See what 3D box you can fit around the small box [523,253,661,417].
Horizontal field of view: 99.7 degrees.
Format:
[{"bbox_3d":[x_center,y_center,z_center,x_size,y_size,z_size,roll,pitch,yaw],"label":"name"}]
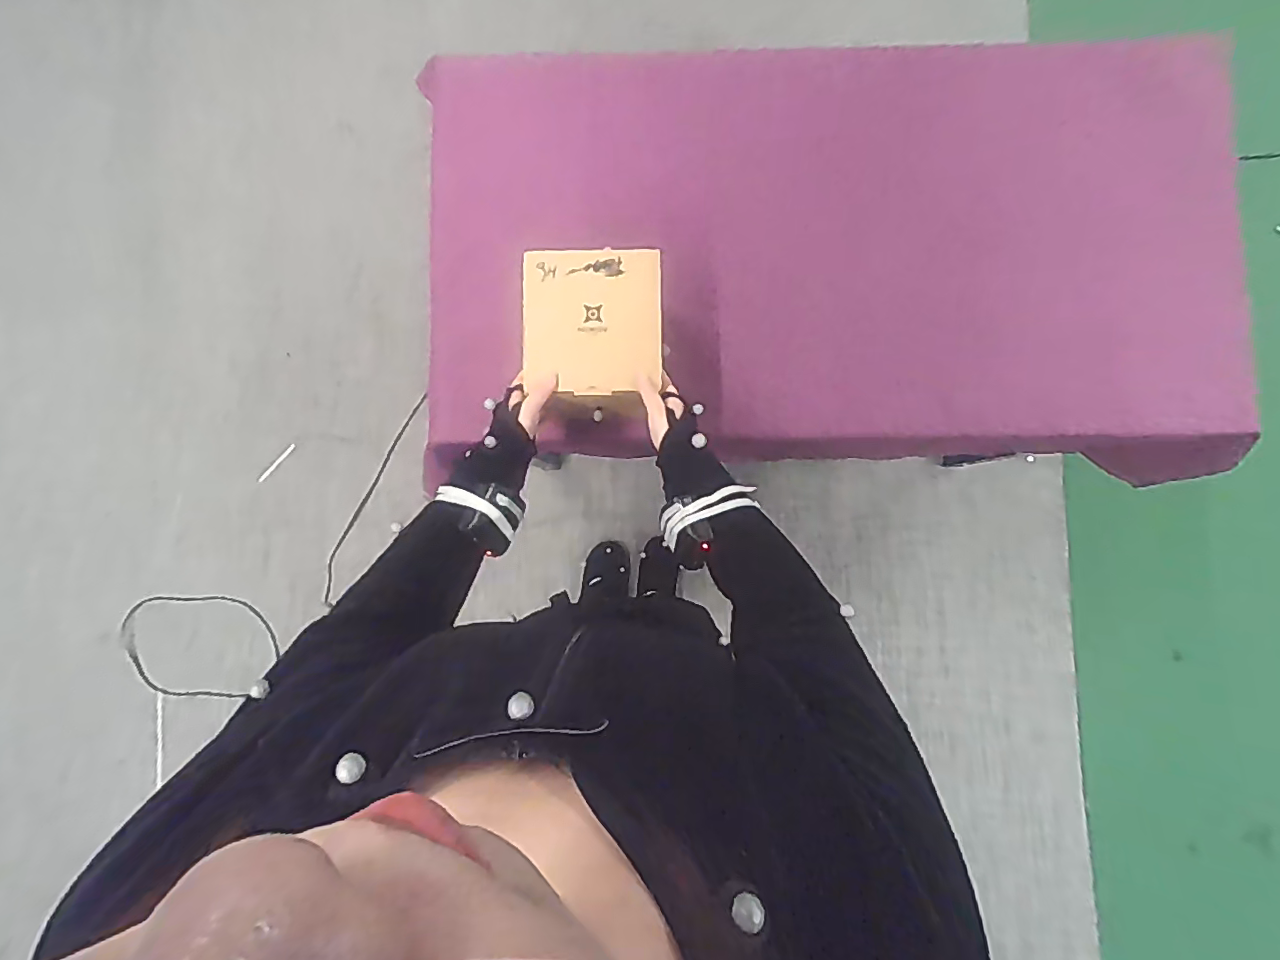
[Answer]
[{"bbox_3d":[-0.055,-0.181,0.722,0.168,0.176,0.179,0,86,1],"label":"small box"}]
